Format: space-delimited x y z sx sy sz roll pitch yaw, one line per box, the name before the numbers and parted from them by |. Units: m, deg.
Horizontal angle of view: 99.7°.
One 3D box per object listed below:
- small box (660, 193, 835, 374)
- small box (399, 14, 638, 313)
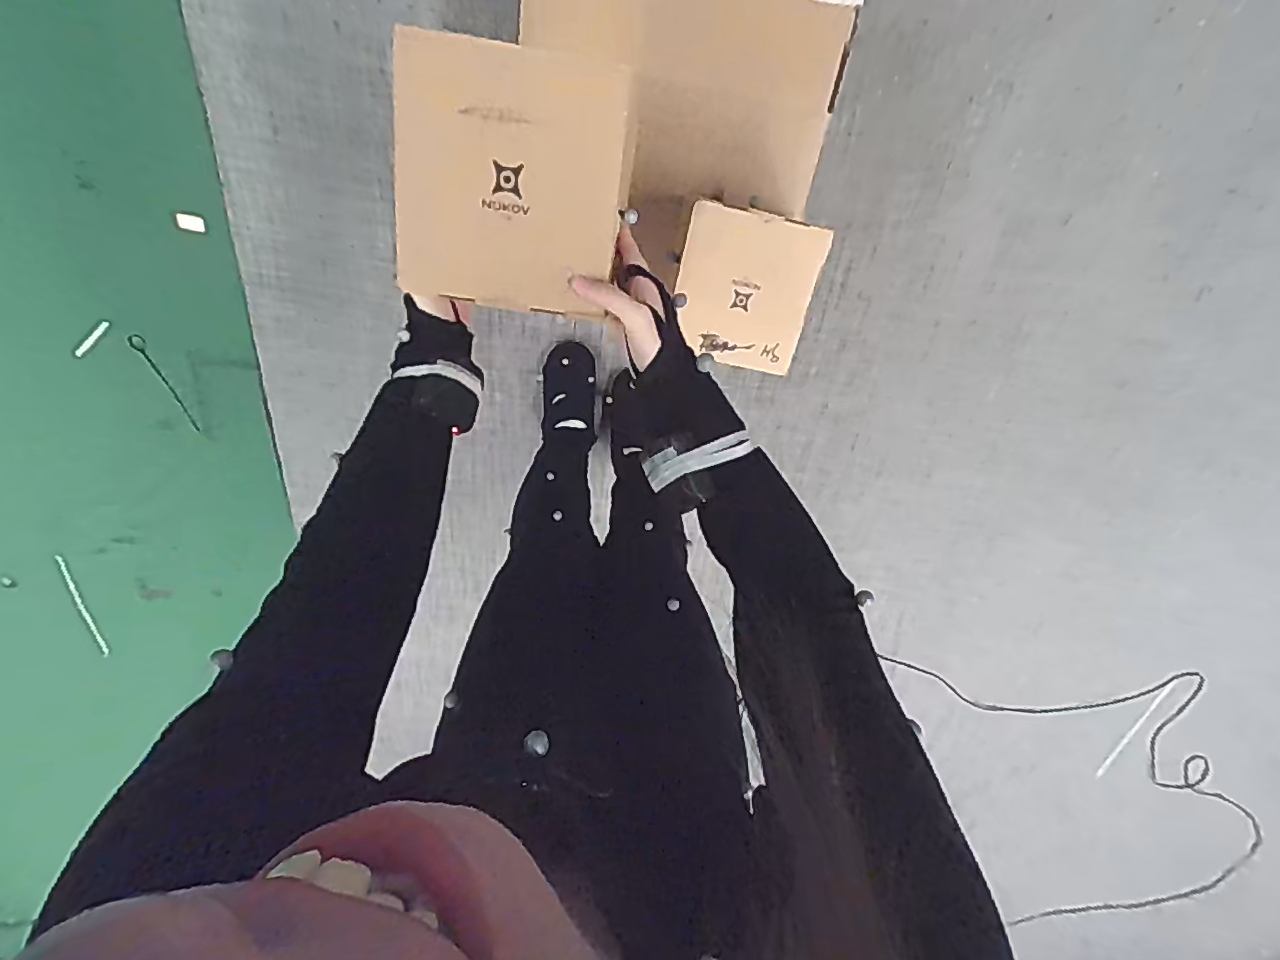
small box | 0.122 -0.259 0.705 0.168 0.176 0.179 11 117 -6
small box | -0.095 -0.256 0.478 0.168 0.176 0.179 9 111 -3
